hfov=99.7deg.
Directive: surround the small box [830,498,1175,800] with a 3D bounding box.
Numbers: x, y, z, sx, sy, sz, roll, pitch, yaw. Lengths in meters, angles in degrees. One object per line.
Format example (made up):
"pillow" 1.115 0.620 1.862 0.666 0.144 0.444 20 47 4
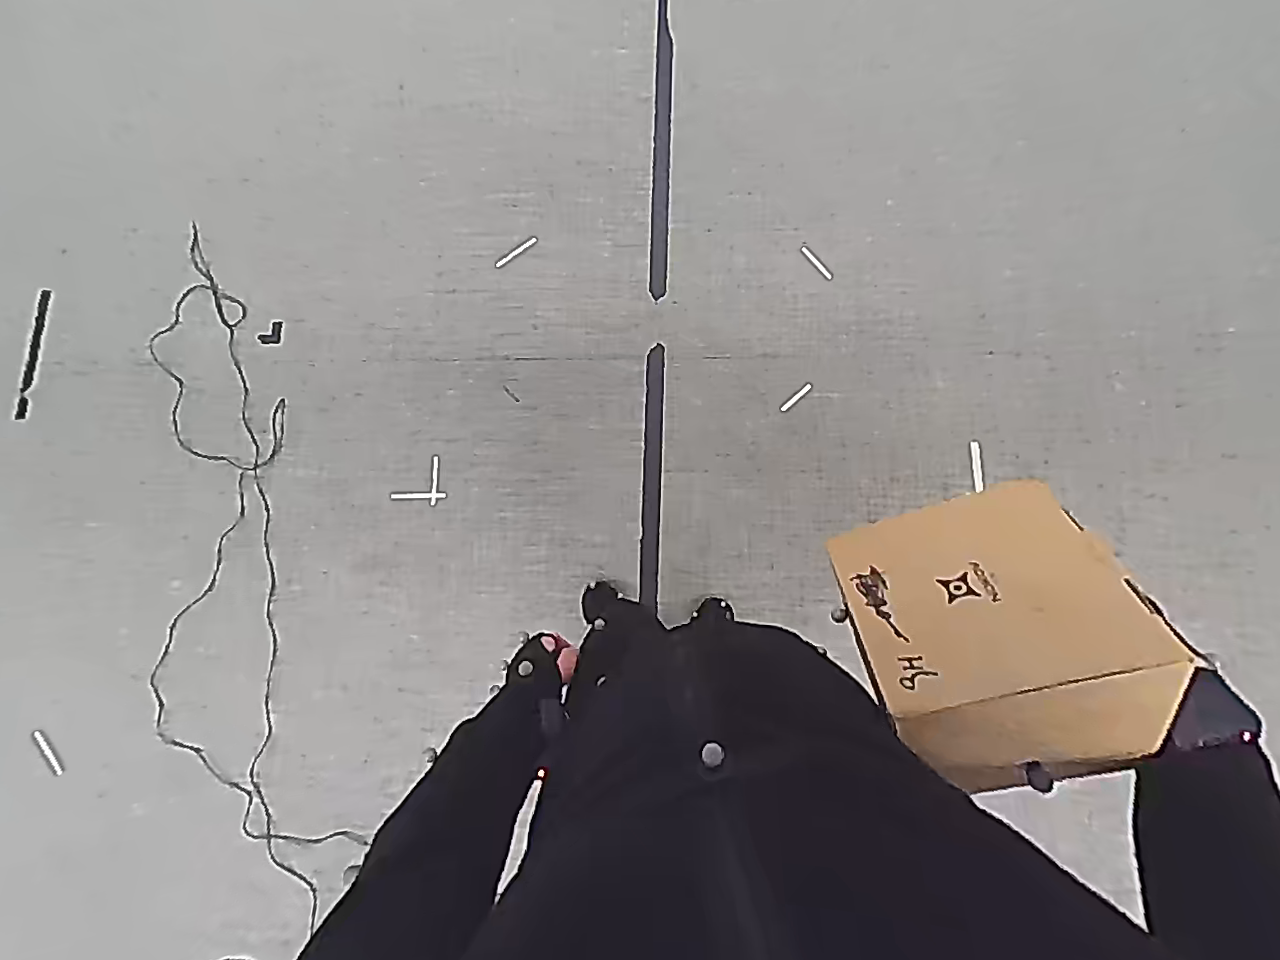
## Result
"small box" 0.284 0.148 0.463 0.179 0.176 0.168 -19 37 14
